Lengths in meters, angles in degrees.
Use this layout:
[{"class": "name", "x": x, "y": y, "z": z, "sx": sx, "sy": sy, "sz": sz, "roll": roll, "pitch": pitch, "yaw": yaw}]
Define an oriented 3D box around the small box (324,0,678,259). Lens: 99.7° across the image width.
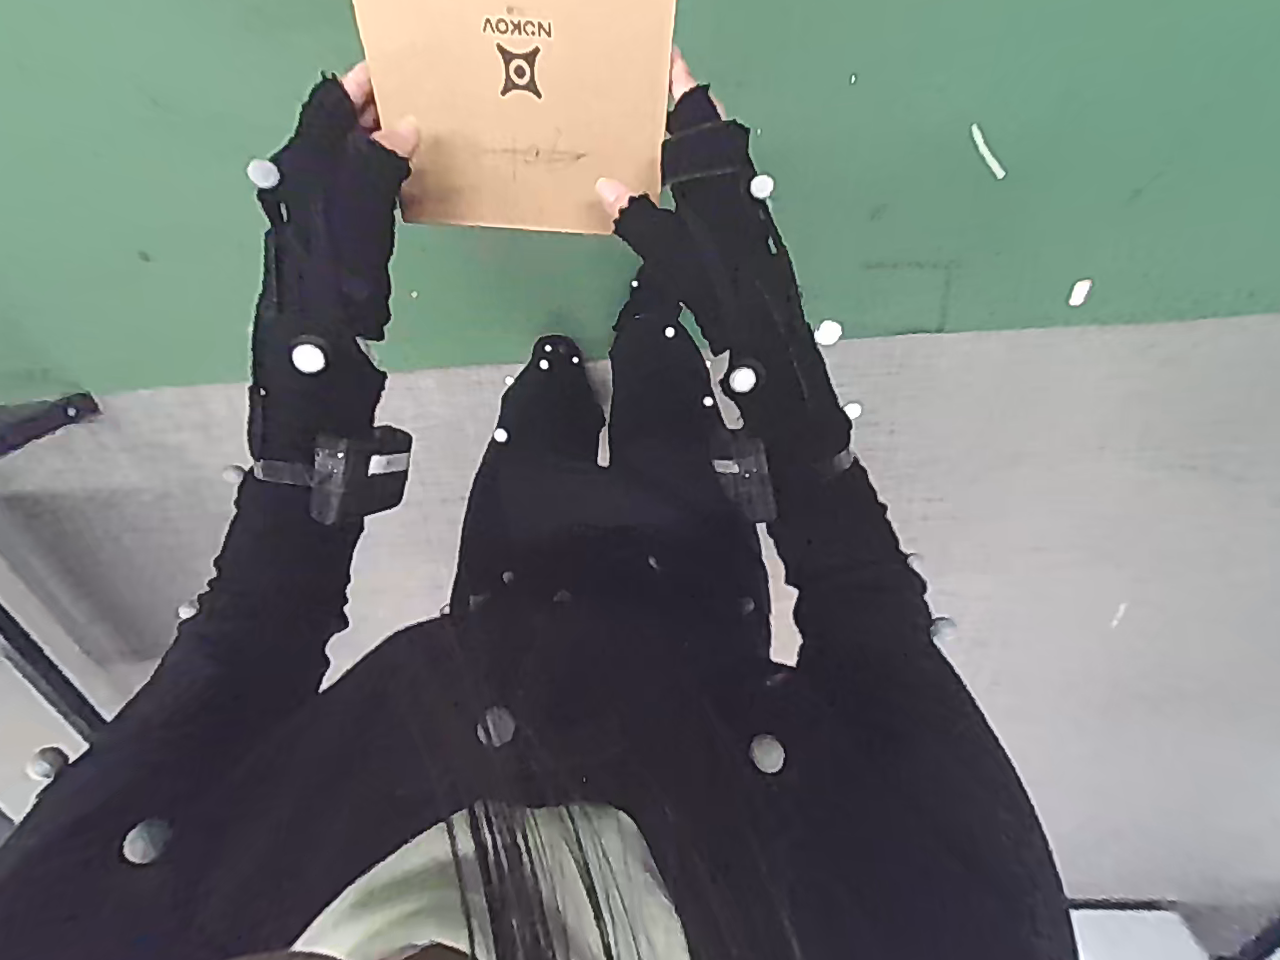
[{"class": "small box", "x": -0.064, "y": -0.258, "z": 0.324, "sx": 0.168, "sy": 0.176, "sz": 0.179, "roll": 5, "pitch": 133, "yaw": -1}]
